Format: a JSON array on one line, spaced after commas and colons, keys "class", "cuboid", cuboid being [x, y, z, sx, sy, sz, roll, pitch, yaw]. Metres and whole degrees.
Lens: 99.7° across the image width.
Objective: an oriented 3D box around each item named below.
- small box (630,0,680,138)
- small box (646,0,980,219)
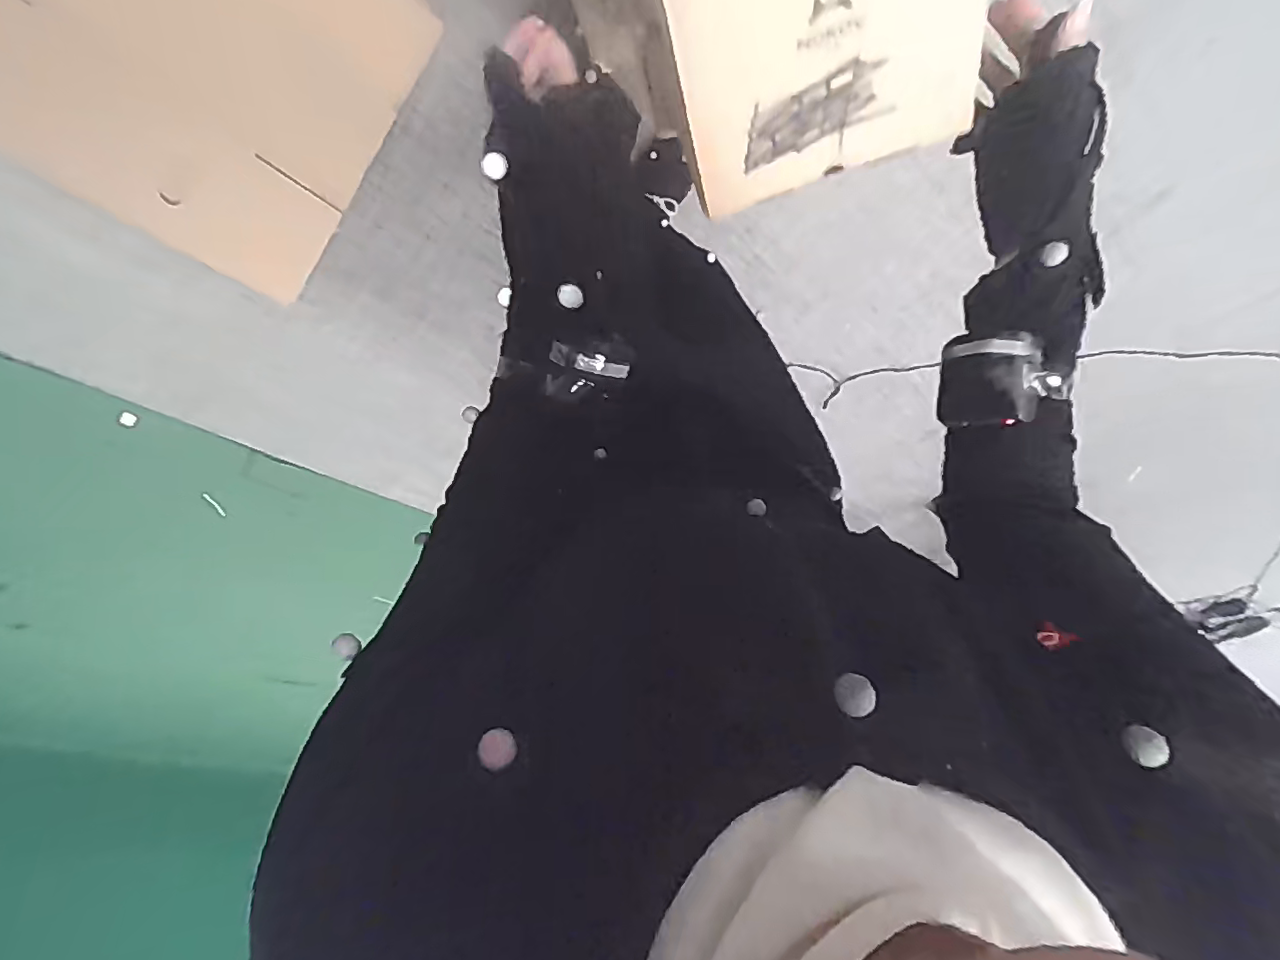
[{"class": "small box", "cuboid": [0.077, -0.426, 0.453, 0.179, 0.176, 0.168, -14, 138, 10]}, {"class": "small box", "cuboid": [0.091, -0.306, 0.337, 0.168, 0.176, 0.179, -15, 138, 11]}]
